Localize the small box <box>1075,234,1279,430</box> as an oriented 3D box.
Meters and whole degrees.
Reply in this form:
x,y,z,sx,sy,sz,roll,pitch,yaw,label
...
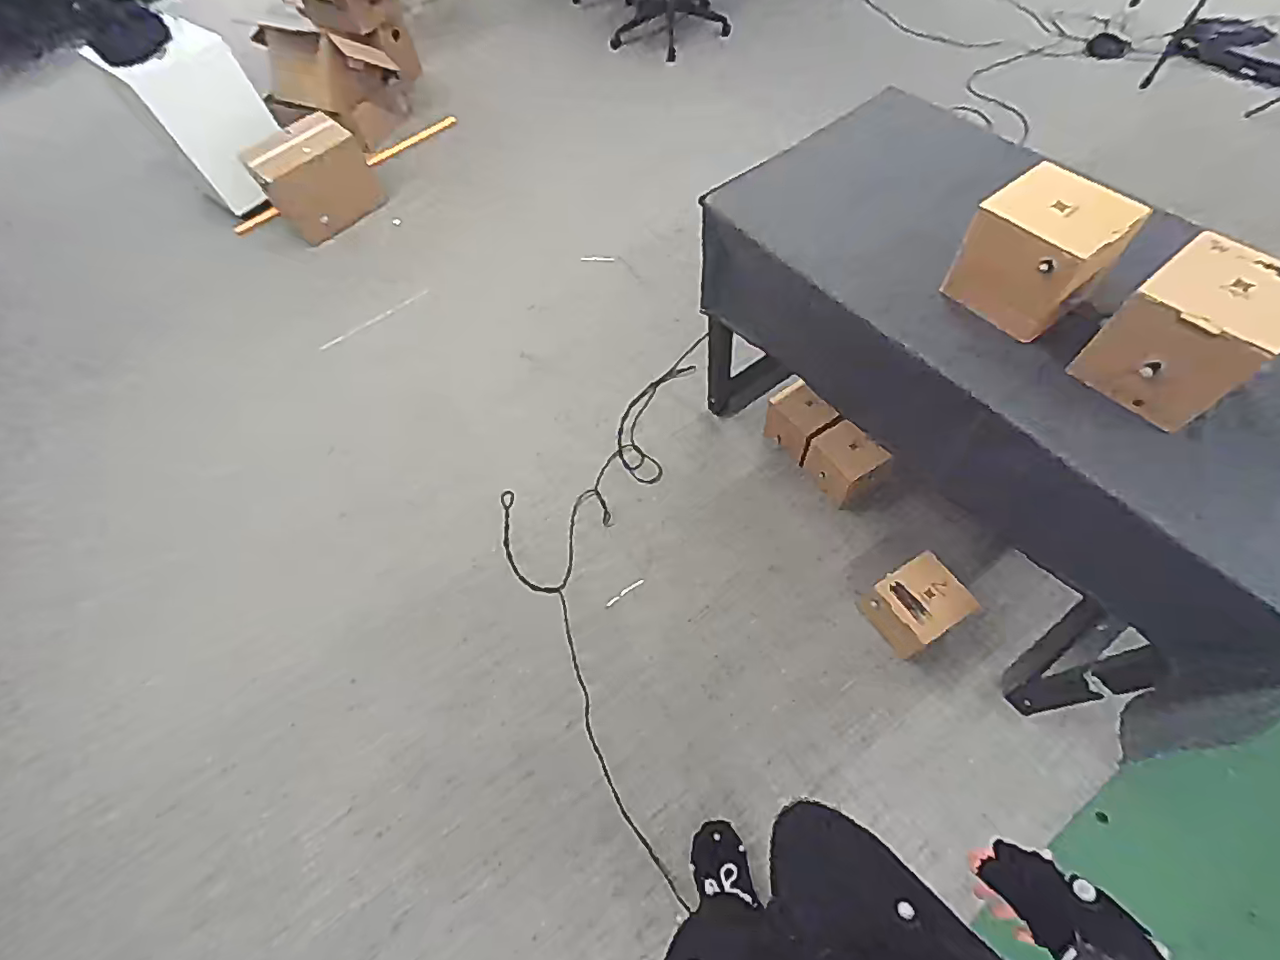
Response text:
x,y,z,sx,sy,sz,roll,pitch,yaw,label
0.782,-0.205,0.774,0.179,0.176,0.168,-36,63,-14,small box
